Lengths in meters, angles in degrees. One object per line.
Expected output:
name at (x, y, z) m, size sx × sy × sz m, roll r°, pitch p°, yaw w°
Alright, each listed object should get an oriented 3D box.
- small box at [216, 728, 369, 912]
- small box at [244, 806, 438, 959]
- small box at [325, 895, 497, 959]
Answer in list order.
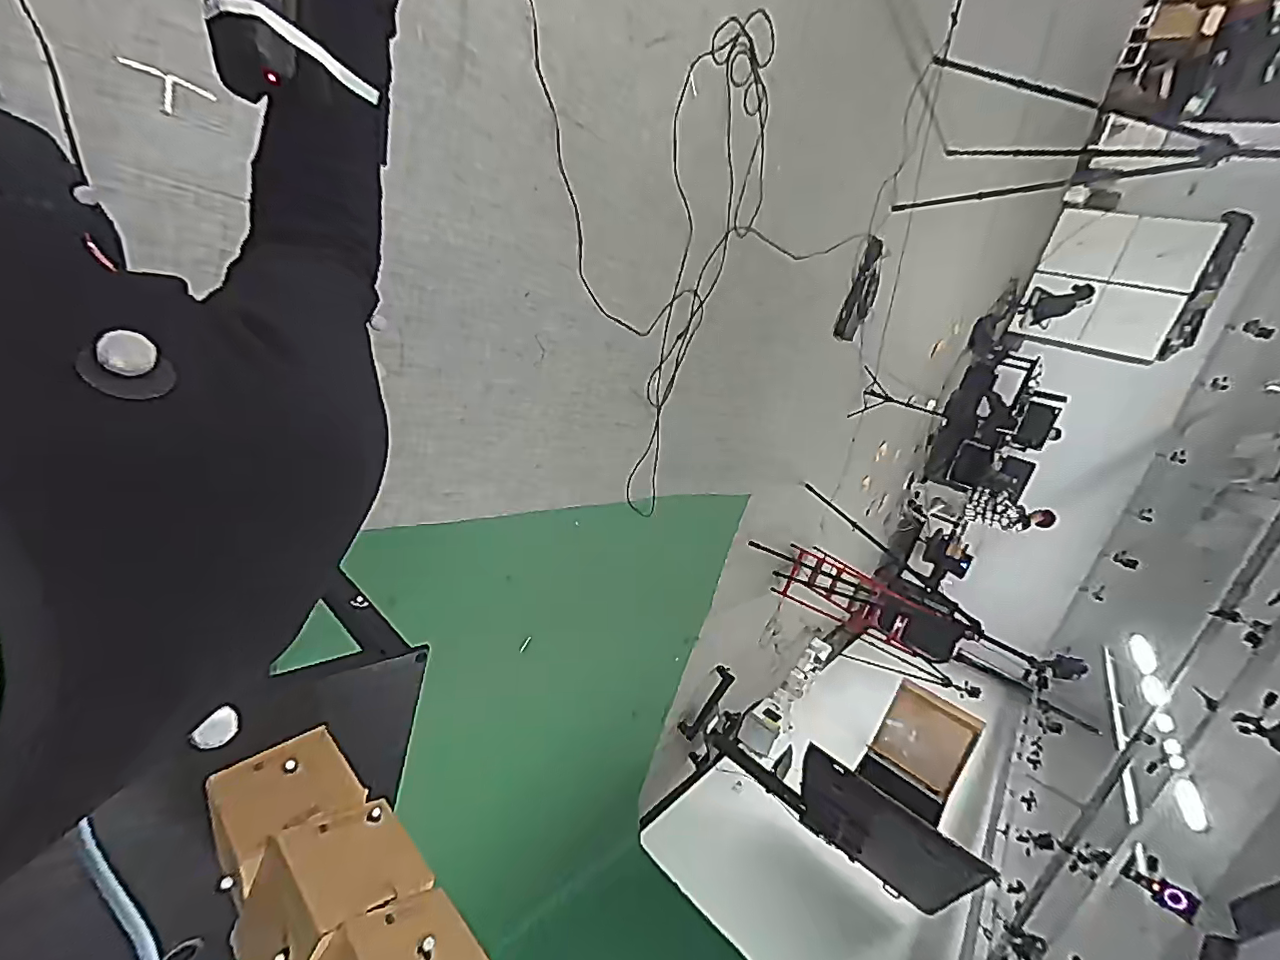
small box at (-0.556, 0.547, 0.871) m, size 0.168 × 0.176 × 0.179 m, roll -14°, pitch 123°, yaw -47°
small box at (-0.434, 0.610, 0.781) m, size 0.168 × 0.176 × 0.179 m, roll 18°, pitch 99°, yaw -55°
small box at (-0.314, 0.679, 0.692) m, size 0.179 × 0.176 × 0.168 m, roll -61°, pitch 145°, yaw -5°
